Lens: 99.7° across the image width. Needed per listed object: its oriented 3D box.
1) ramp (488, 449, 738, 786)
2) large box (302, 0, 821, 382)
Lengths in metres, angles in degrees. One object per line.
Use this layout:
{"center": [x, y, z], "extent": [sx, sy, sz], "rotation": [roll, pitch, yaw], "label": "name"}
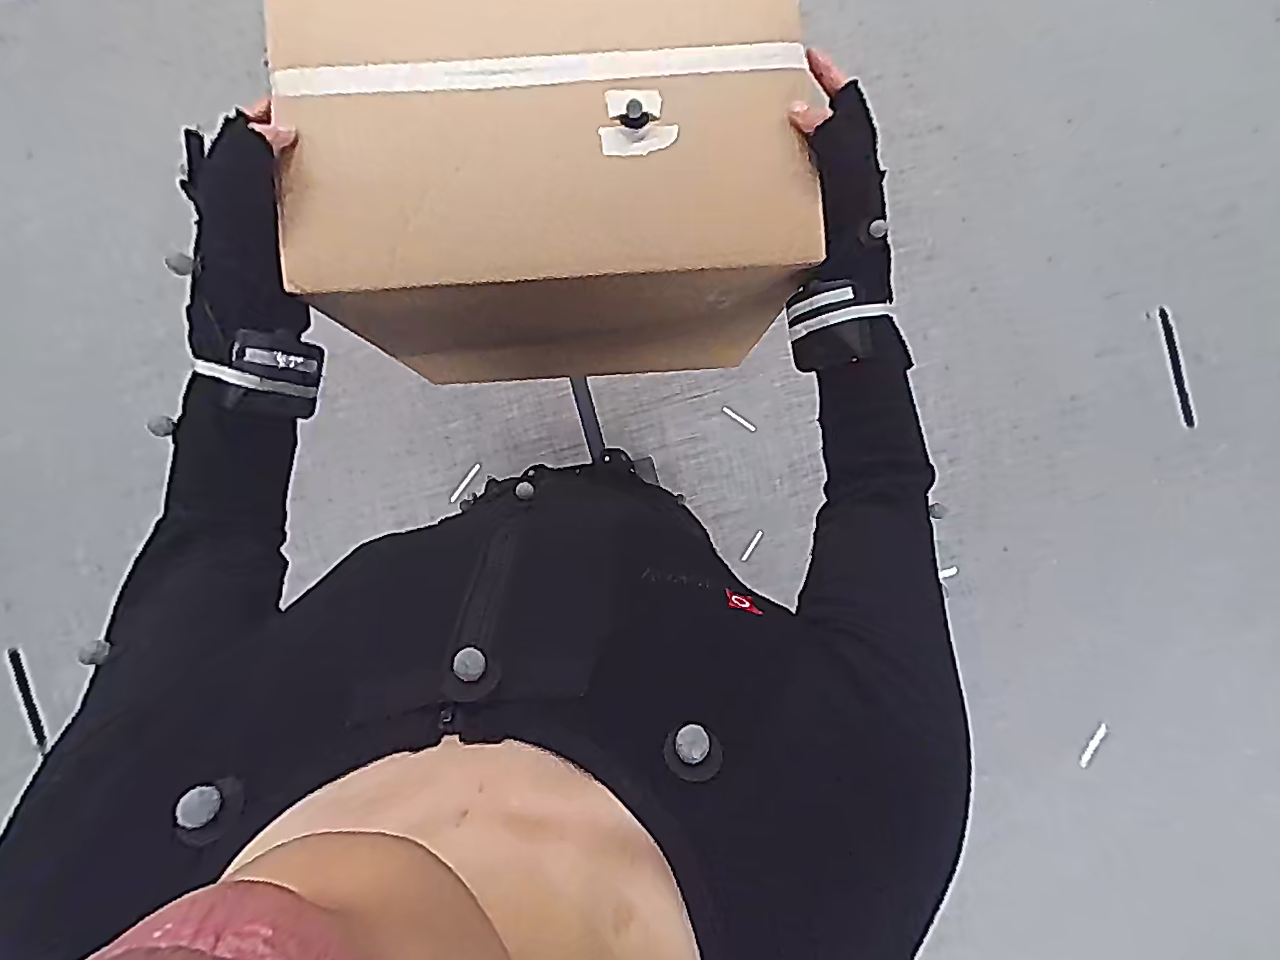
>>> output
{"center": [-0.049, 0.440, 1.605], "extent": [0.509, 0.206, 0.991], "rotation": [-18, 94, -2], "label": "ramp"}
{"center": [-0.070, -0.304, 0.578], "extent": [0.408, 0.320, 0.320], "rotation": [-4, 87, -2], "label": "large box"}
